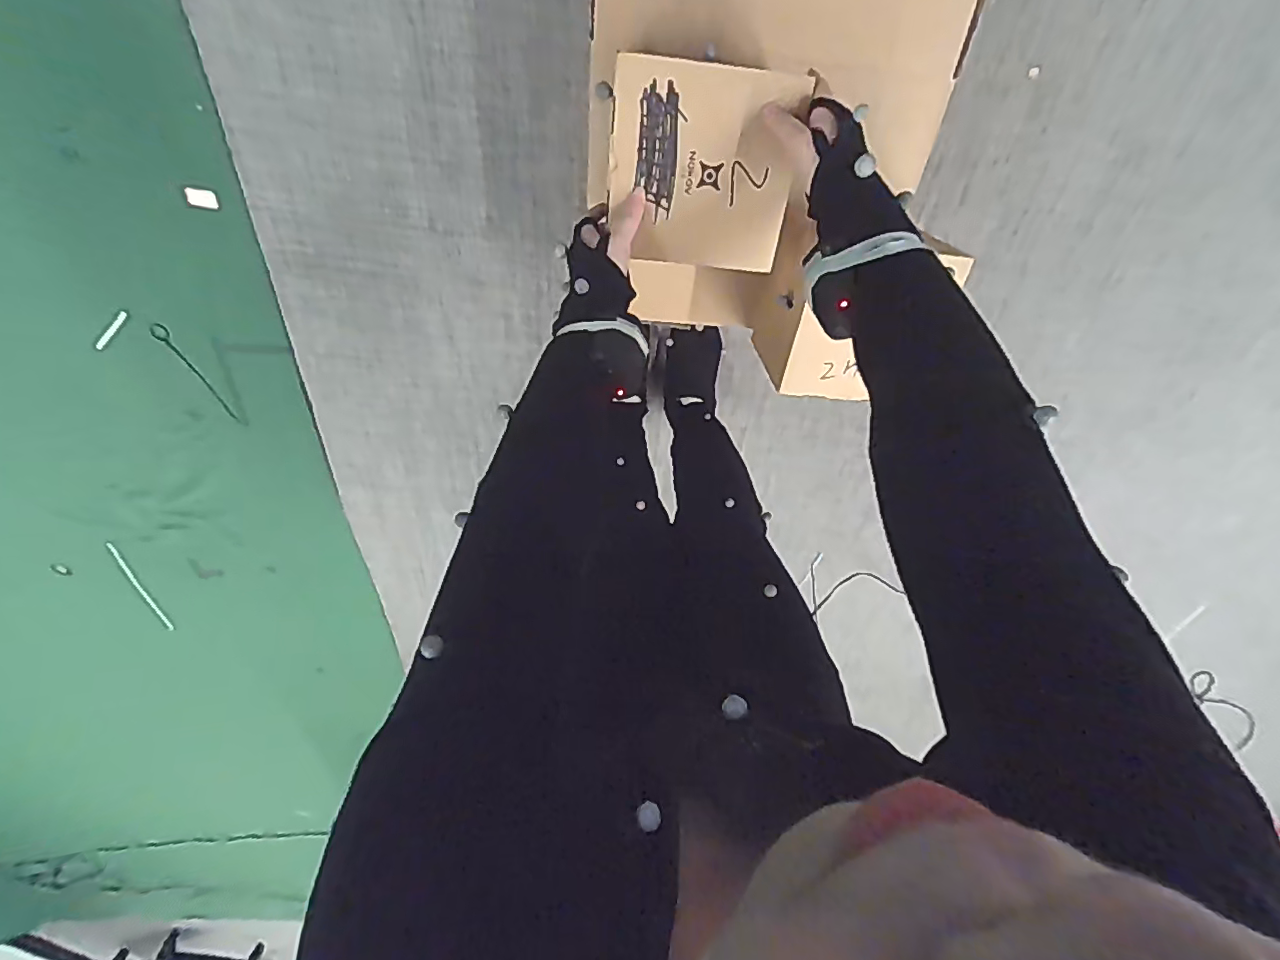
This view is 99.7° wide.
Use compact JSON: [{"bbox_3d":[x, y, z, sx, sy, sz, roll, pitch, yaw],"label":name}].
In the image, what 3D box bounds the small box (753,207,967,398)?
[{"bbox_3d":[0.248,-0.222,0.665,0.168,0.176,0.179,4,127,-5],"label":"small box"}]
